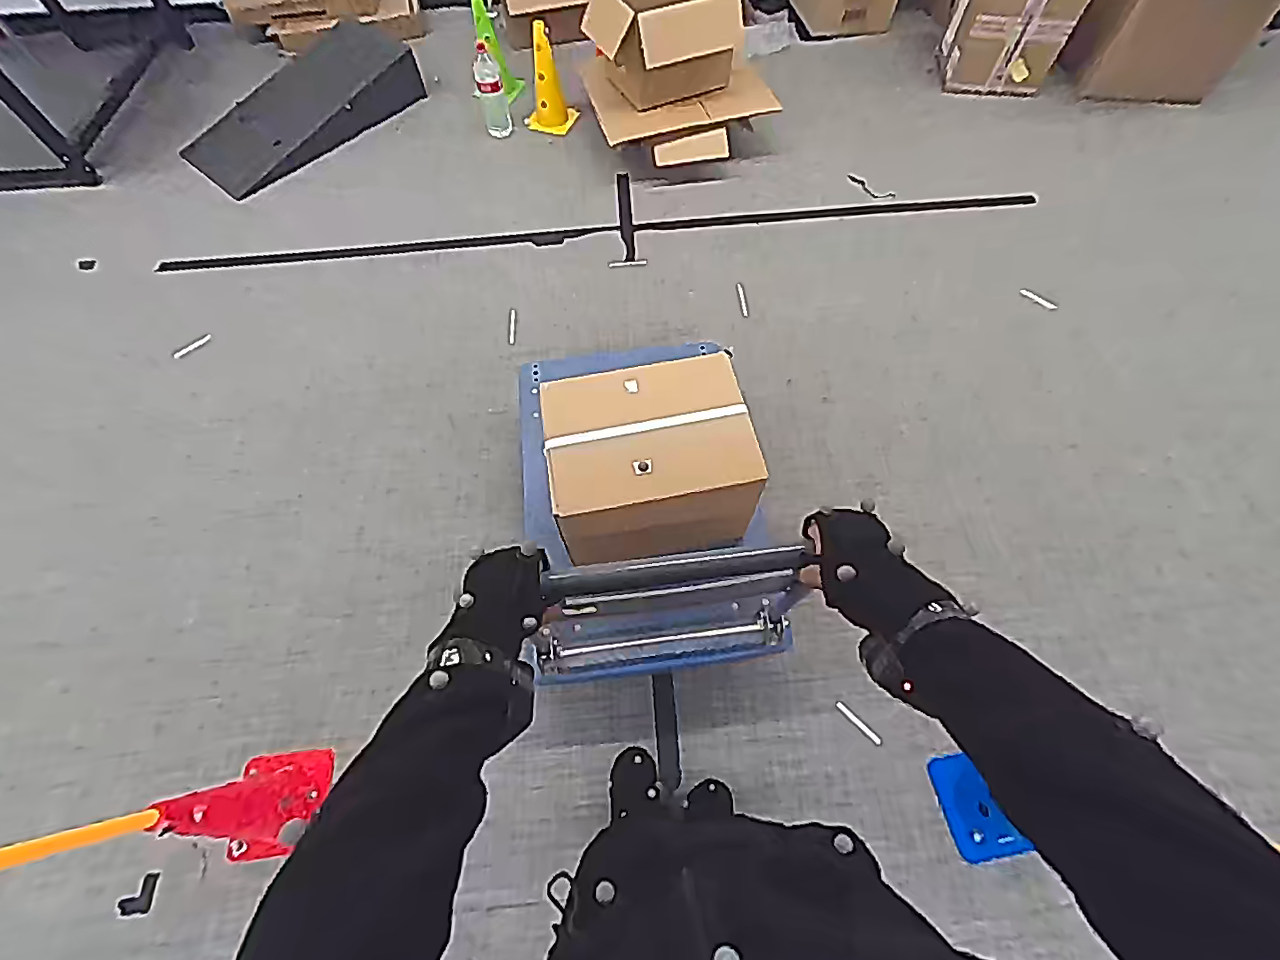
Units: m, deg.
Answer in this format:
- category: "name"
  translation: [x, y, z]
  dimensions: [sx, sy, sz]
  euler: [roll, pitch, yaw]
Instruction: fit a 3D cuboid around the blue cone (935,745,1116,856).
- category: "blue cone"
  translation: [0.756, 0.613, 1.029]
  dimensions: [0.193, 0.380, 0.192]
  euler: [-8, 61, -3]
